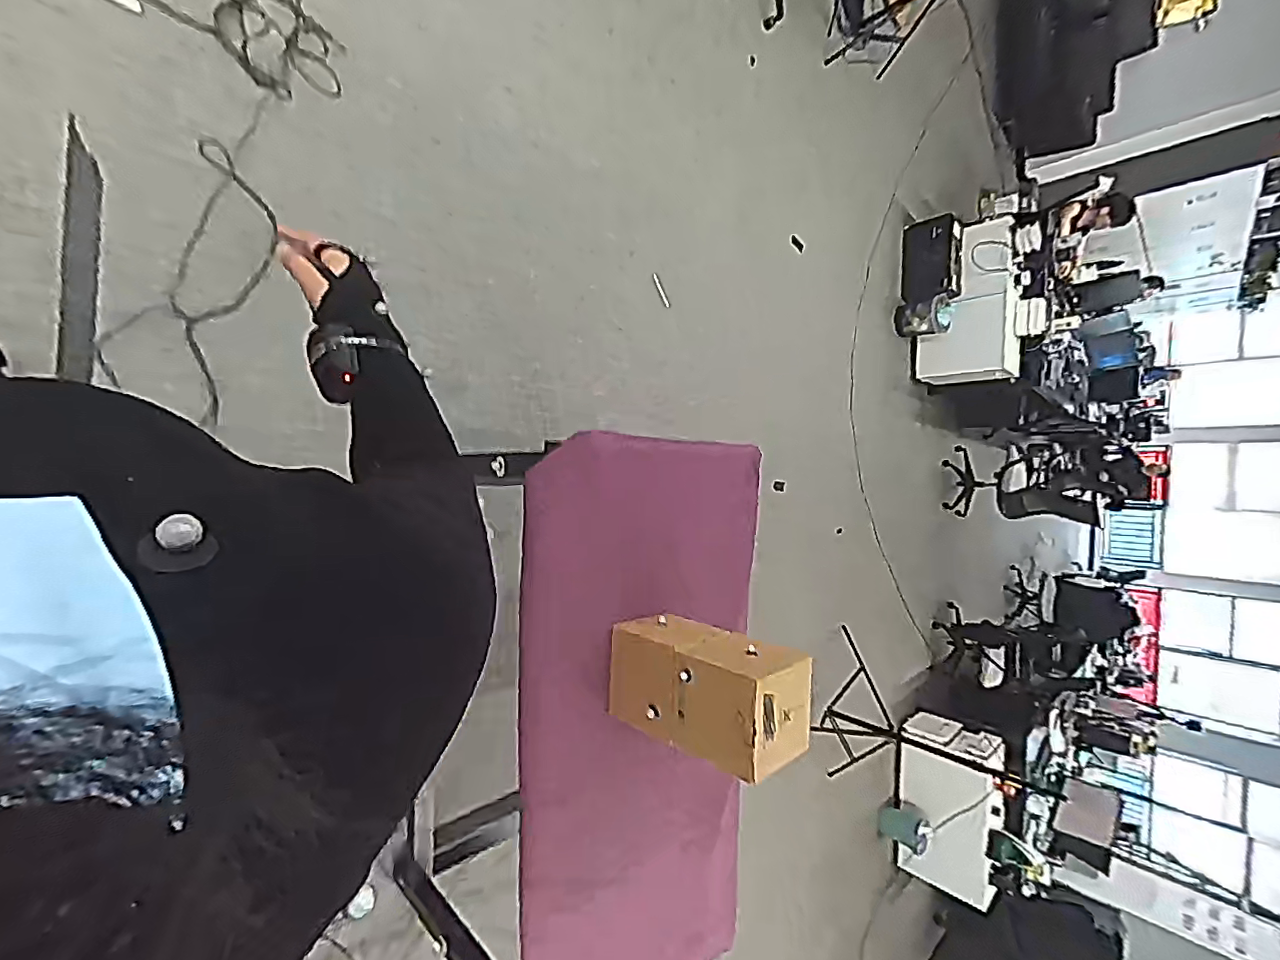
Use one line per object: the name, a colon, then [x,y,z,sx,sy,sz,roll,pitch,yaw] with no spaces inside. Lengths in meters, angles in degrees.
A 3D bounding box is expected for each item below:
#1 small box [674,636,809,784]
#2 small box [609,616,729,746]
small box: [0.174,0.384,0.939,0.179,0.176,0.168,0,92,-45]
small box: [0.054,0.378,1.052,0.168,0.176,0.179,3,90,-45]
